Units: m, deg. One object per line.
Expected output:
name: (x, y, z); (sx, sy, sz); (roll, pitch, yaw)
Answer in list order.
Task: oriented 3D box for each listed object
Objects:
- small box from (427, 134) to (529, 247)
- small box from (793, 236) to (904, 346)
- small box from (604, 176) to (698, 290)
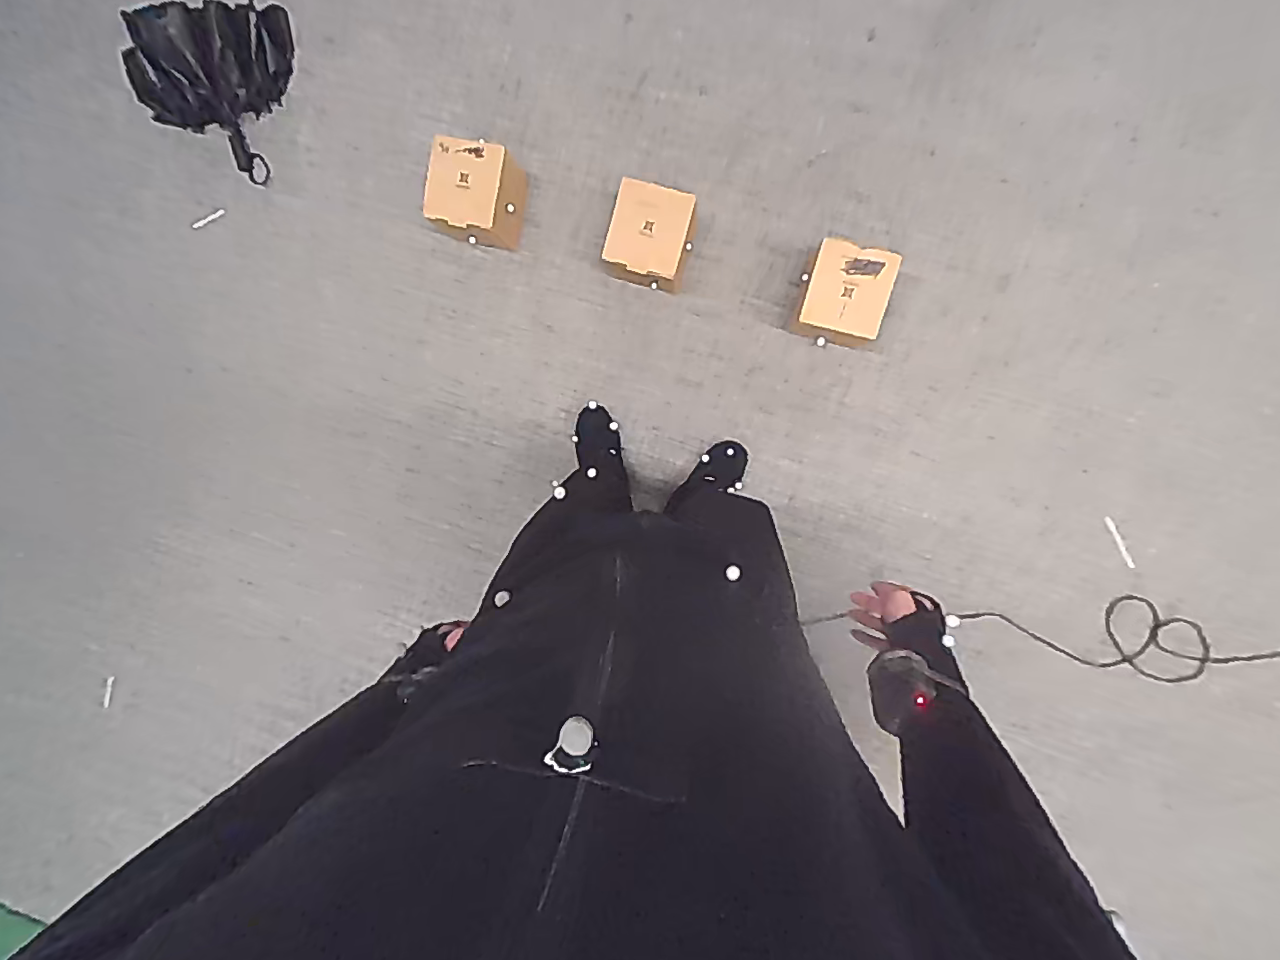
small box: (-0.369, -0.660, 1.256); (0.168, 0.176, 0.179); (13, 99, 5)
small box: (0.447, -0.407, 1.191); (0.168, 0.176, 0.179); (16, 99, 5)
small box: (0.031, -0.548, 1.226); (0.168, 0.176, 0.179); (16, 98, 3)
